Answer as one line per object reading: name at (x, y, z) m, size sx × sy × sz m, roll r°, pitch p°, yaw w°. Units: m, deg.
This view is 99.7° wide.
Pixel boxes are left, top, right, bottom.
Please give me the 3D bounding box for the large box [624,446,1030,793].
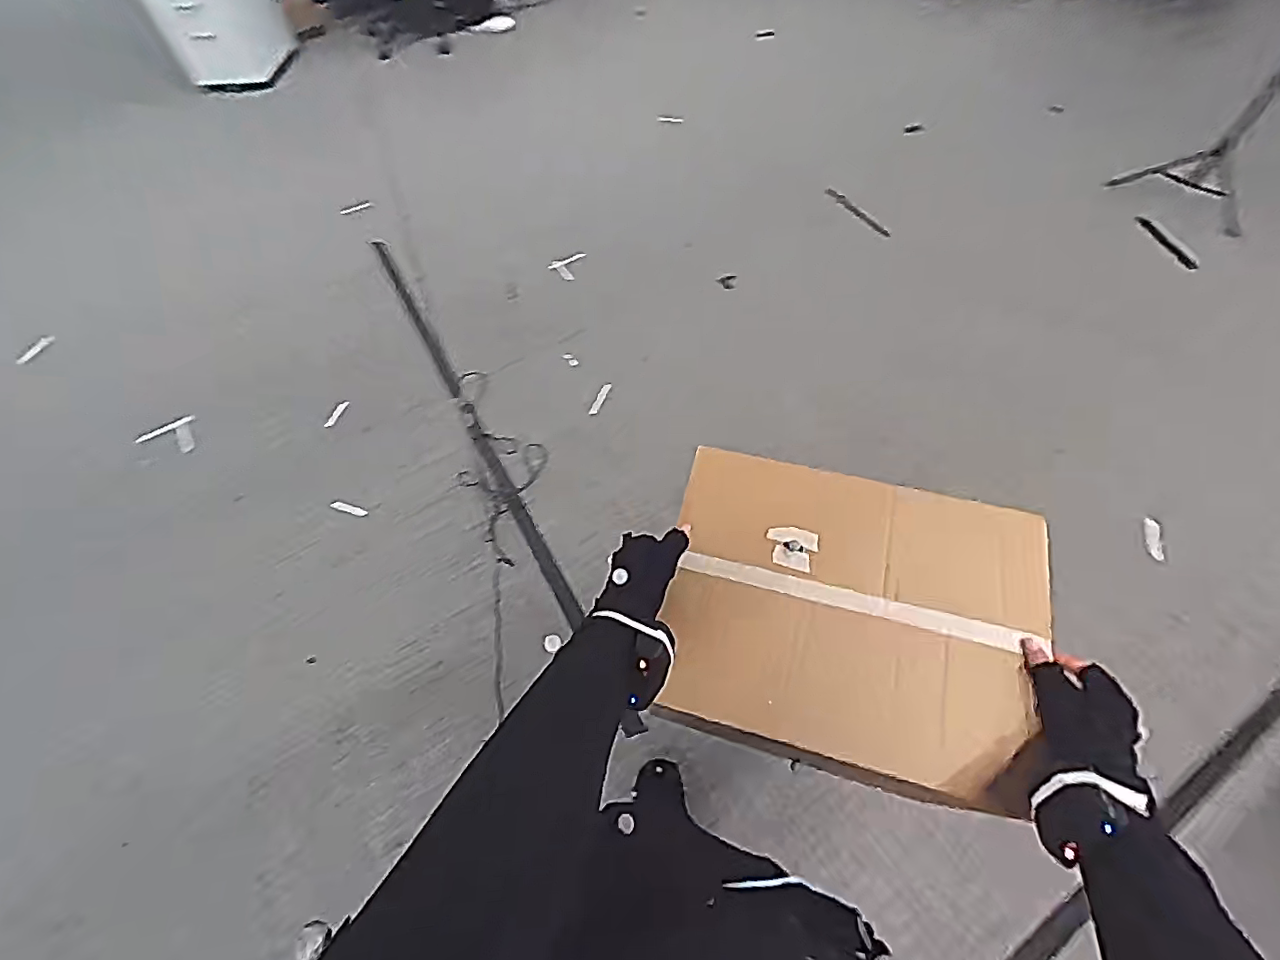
large box at (0.228, 0.189, 0.734) m, size 0.408 × 0.320 × 0.320 m, roll 12°, pitch 64°, yaw 12°
